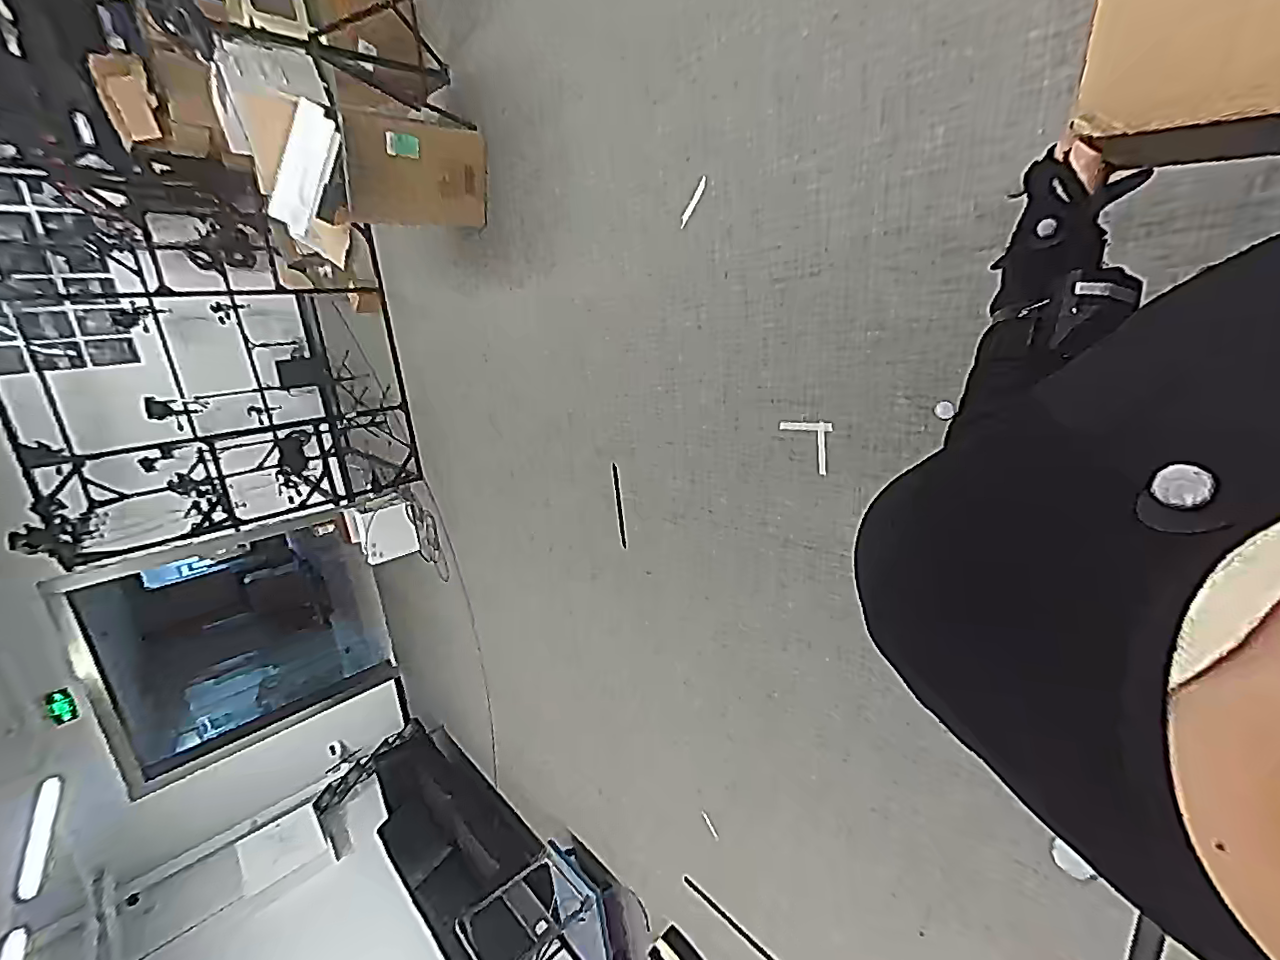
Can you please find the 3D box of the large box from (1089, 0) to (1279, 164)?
[{"bbox_3d":[0.433,-0.313,0.167,0.408,0.320,0.320,15,121,38],"label":"large box"}]
